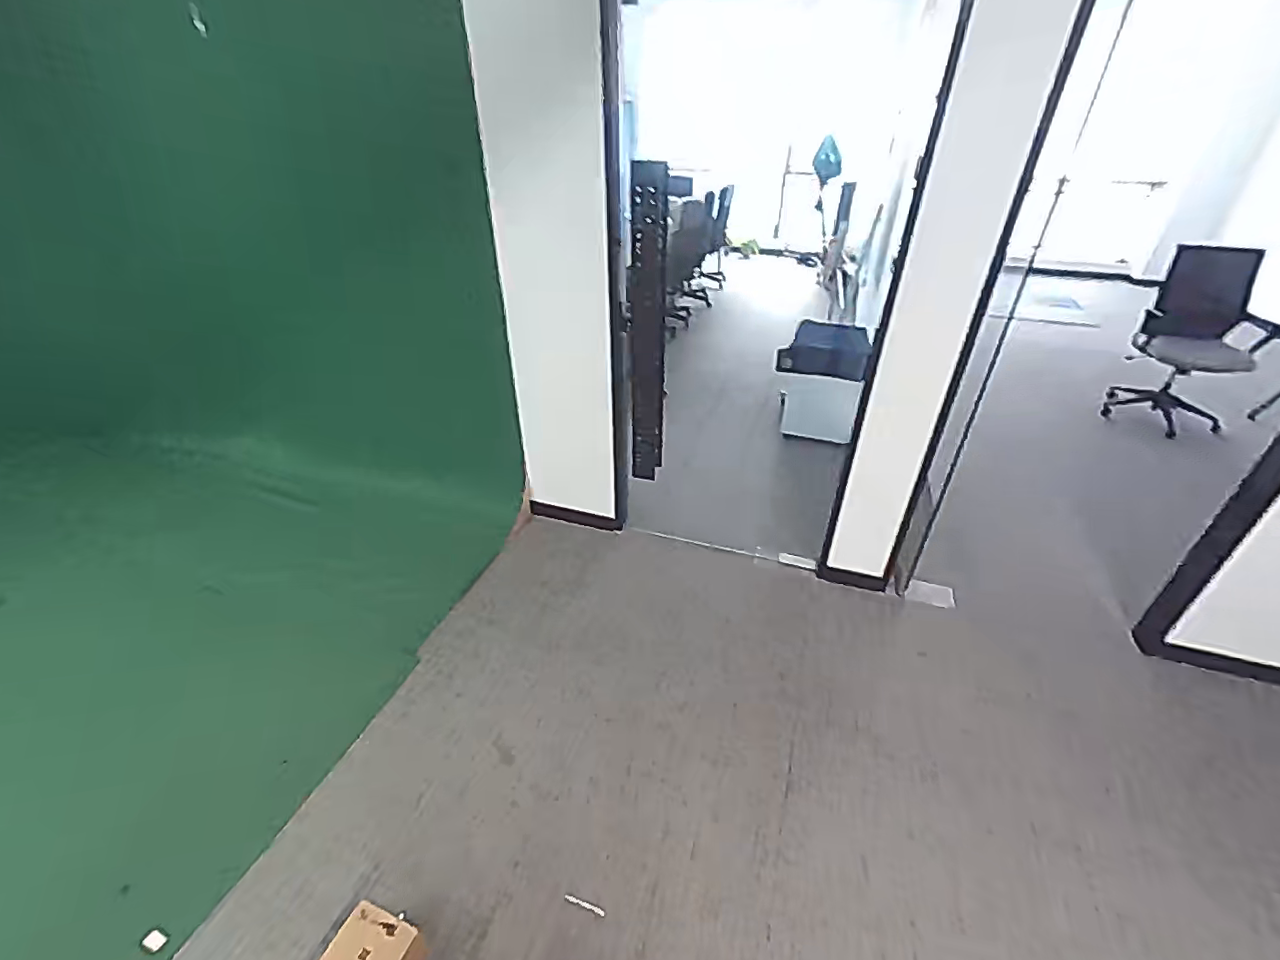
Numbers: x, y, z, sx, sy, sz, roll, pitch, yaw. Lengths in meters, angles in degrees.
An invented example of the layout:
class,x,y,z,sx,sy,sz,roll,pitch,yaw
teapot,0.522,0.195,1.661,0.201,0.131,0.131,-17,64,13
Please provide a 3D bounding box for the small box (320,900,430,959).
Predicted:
class,x,y,z,sx,sy,sz,roll,pitch,yaw
small box,-0.595,1.094,1.198,0.168,0.176,0.179,13,36,18
